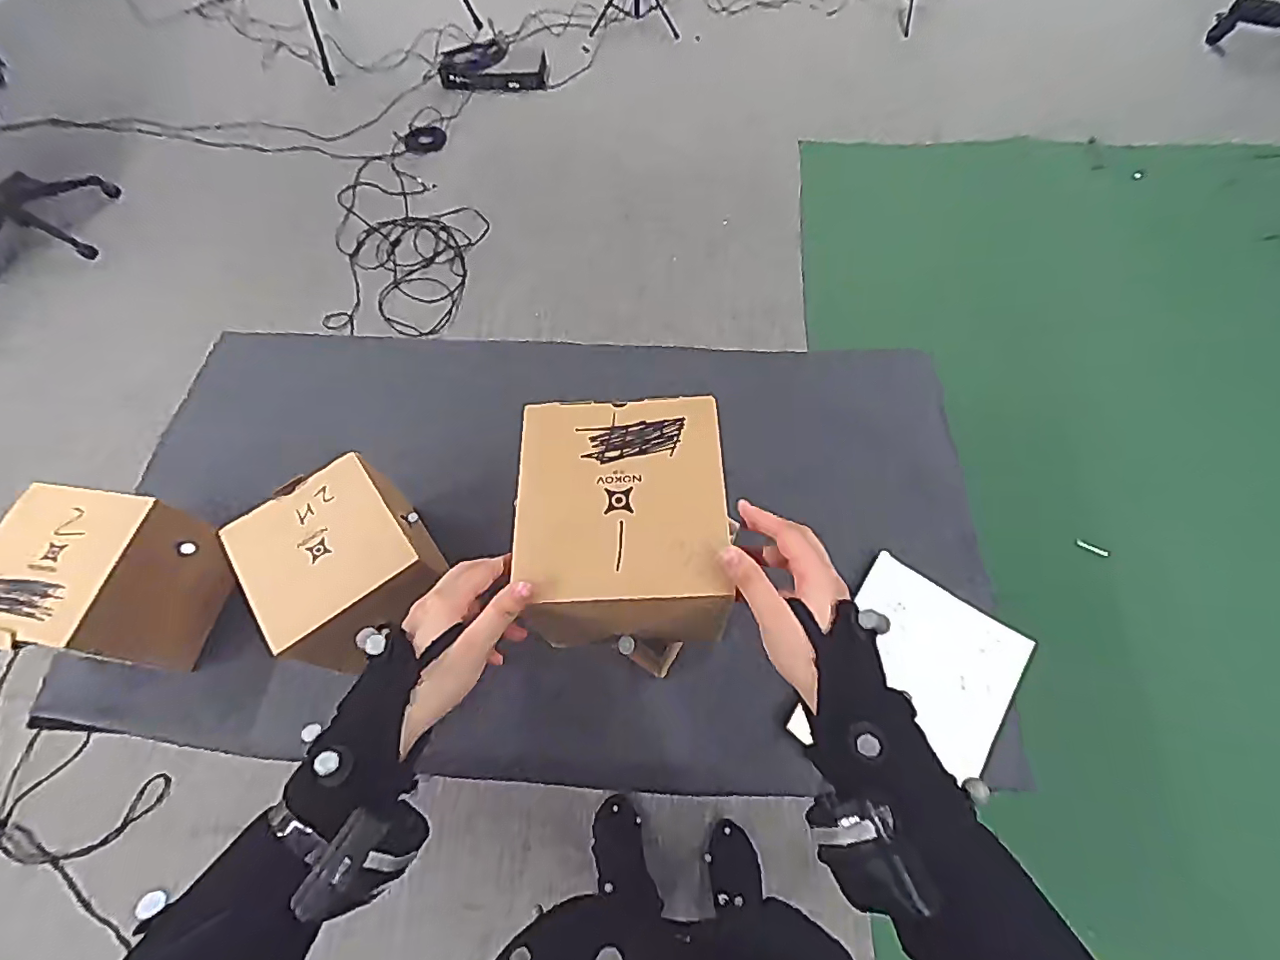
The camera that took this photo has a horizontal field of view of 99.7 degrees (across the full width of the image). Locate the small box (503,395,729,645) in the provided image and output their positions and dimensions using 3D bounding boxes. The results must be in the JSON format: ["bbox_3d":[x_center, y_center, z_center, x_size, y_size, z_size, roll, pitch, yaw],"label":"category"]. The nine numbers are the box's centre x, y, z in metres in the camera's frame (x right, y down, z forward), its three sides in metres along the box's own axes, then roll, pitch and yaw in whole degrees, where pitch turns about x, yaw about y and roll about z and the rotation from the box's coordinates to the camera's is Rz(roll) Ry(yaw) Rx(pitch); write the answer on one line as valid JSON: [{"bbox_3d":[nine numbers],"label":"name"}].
[{"bbox_3d":[-0.015,0.044,0.494,0.168,0.176,0.179,-3,63,3],"label":"small box"}]

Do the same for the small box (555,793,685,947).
[{"bbox_3d":[-0.033,0.784,1.104,0.179,0.168,0.176,-40,96,-41],"label":"small box"}]

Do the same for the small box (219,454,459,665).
[{"bbox_3d":[-0.351,0.107,0.662,0.168,0.176,0.179,-35,67,-15],"label":"small box"}]
